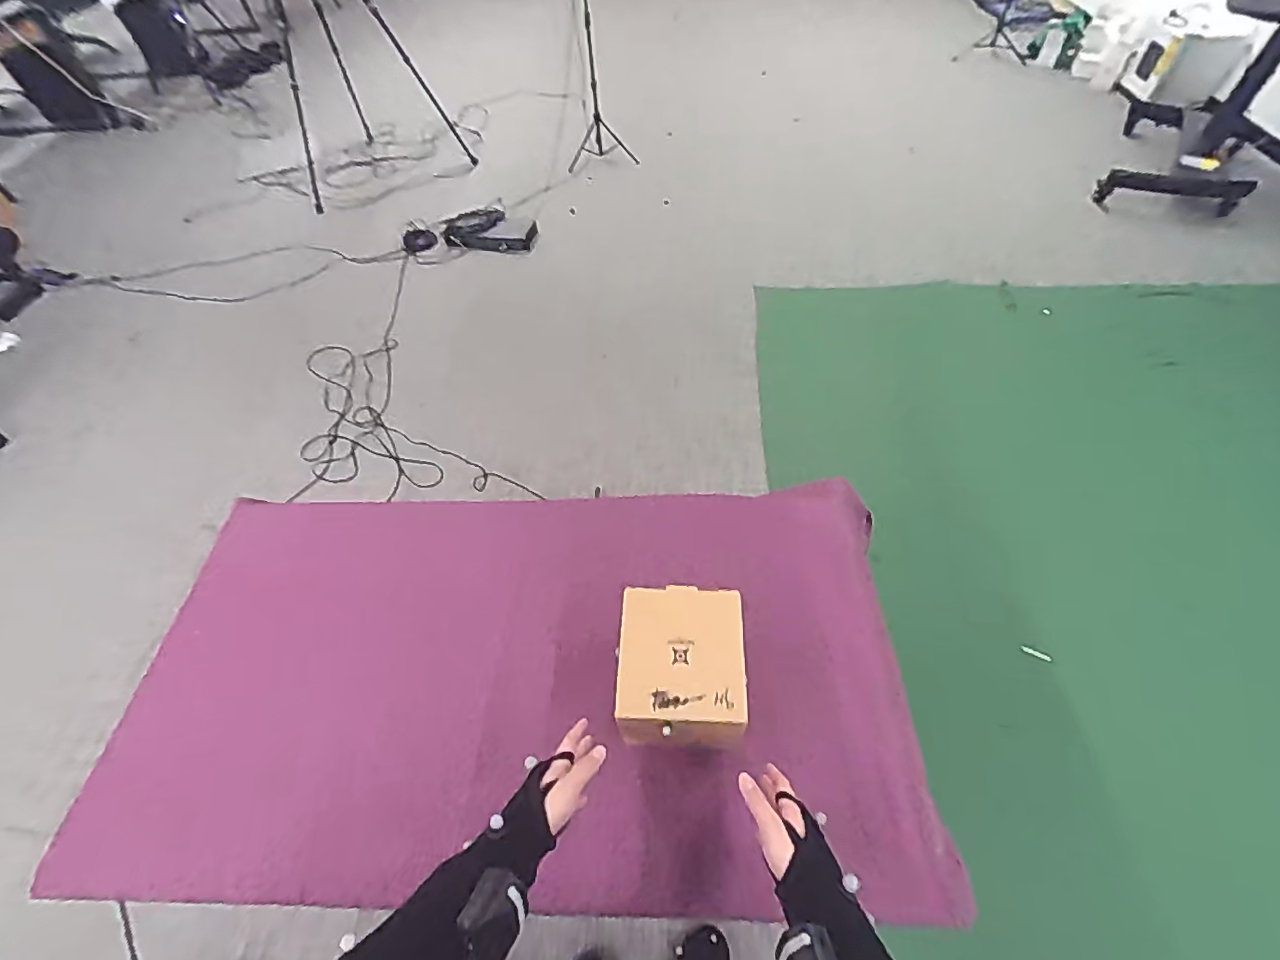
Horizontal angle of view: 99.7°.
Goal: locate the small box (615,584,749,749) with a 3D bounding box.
[{"bbox_3d":[0.059,0.265,0.766,0.168,0.176,0.179,1,54,5],"label":"small box"}]
